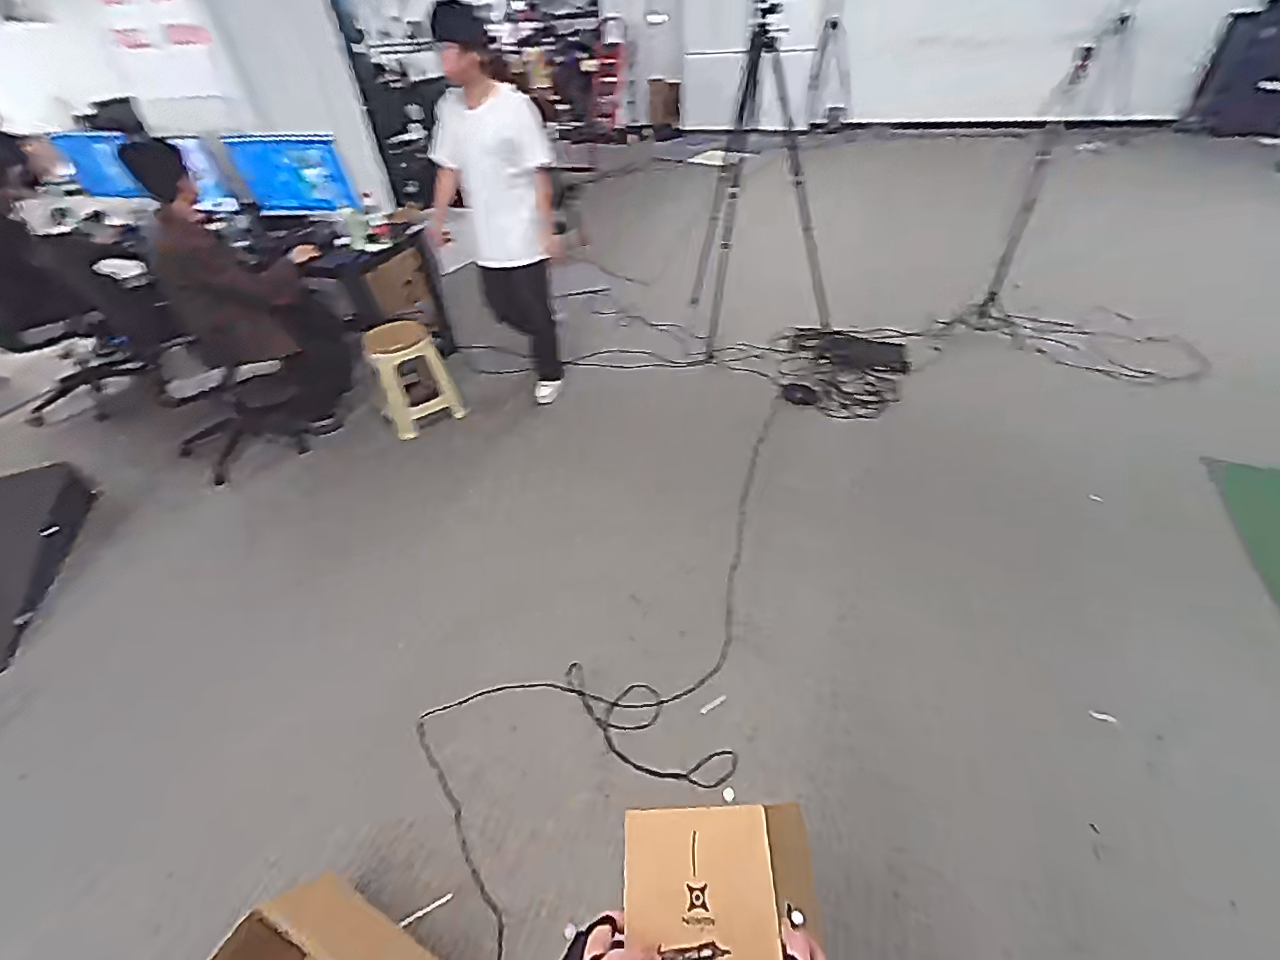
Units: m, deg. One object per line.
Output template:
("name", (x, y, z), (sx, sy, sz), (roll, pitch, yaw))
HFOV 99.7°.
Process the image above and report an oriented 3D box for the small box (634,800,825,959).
("small box", (0.103, 0.471, 0.618), (0.168, 0.176, 0.179), (-15, 56, 22))
